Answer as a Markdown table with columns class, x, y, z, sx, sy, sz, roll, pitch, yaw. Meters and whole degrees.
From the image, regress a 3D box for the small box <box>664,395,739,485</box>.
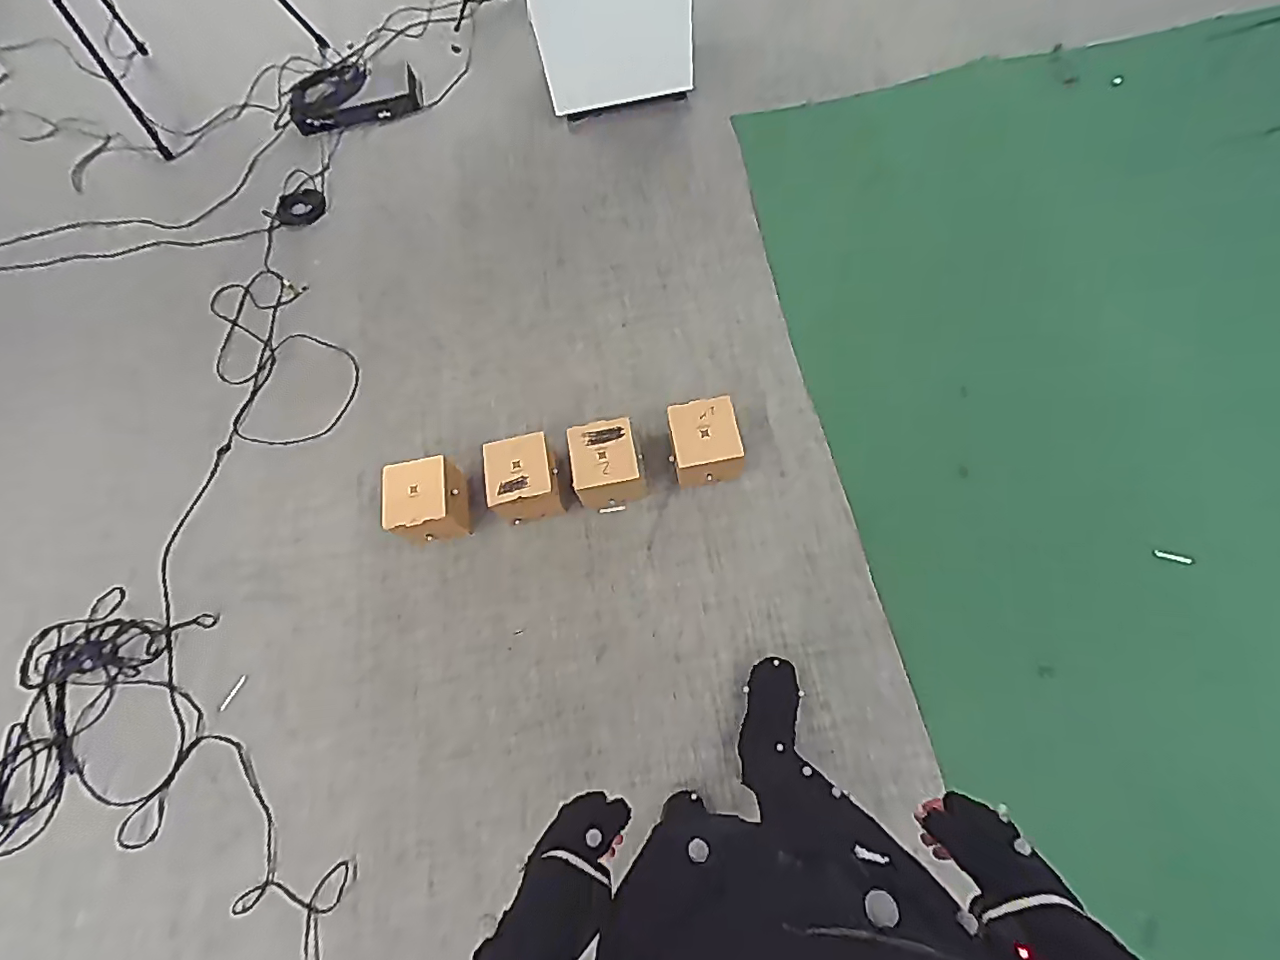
| class | x | y | z | sx | sy | sz | roll | pitch | yaw |
| --- | --- | --- | --- | --- | --- | --- | --- | --- | --- |
| small box | 0.163 | -0.097 | 1.437 | 0.168 | 0.176 | 0.179 | -10 | 69 | 2 |

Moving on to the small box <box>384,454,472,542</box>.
| class | x | y | z | sx | sy | sz | roll | pitch | yaw |
| --- | --- | --- | --- | --- | --- | --- | --- | --- | --- |
| small box | -0.568 | 0.052 | 1.463 | 0.168 | 0.176 | 0.179 | -11 | 69 | 2 |

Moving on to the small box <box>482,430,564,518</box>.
| class | x | y | z | sx | sy | sz | roll | pitch | yaw |
| --- | --- | --- | --- | --- | --- | --- | --- | --- | --- |
| small box | -0.309 | -0.007 | 1.453 | 0.168 | 0.176 | 0.179 | -12 | 67 | 3 |
